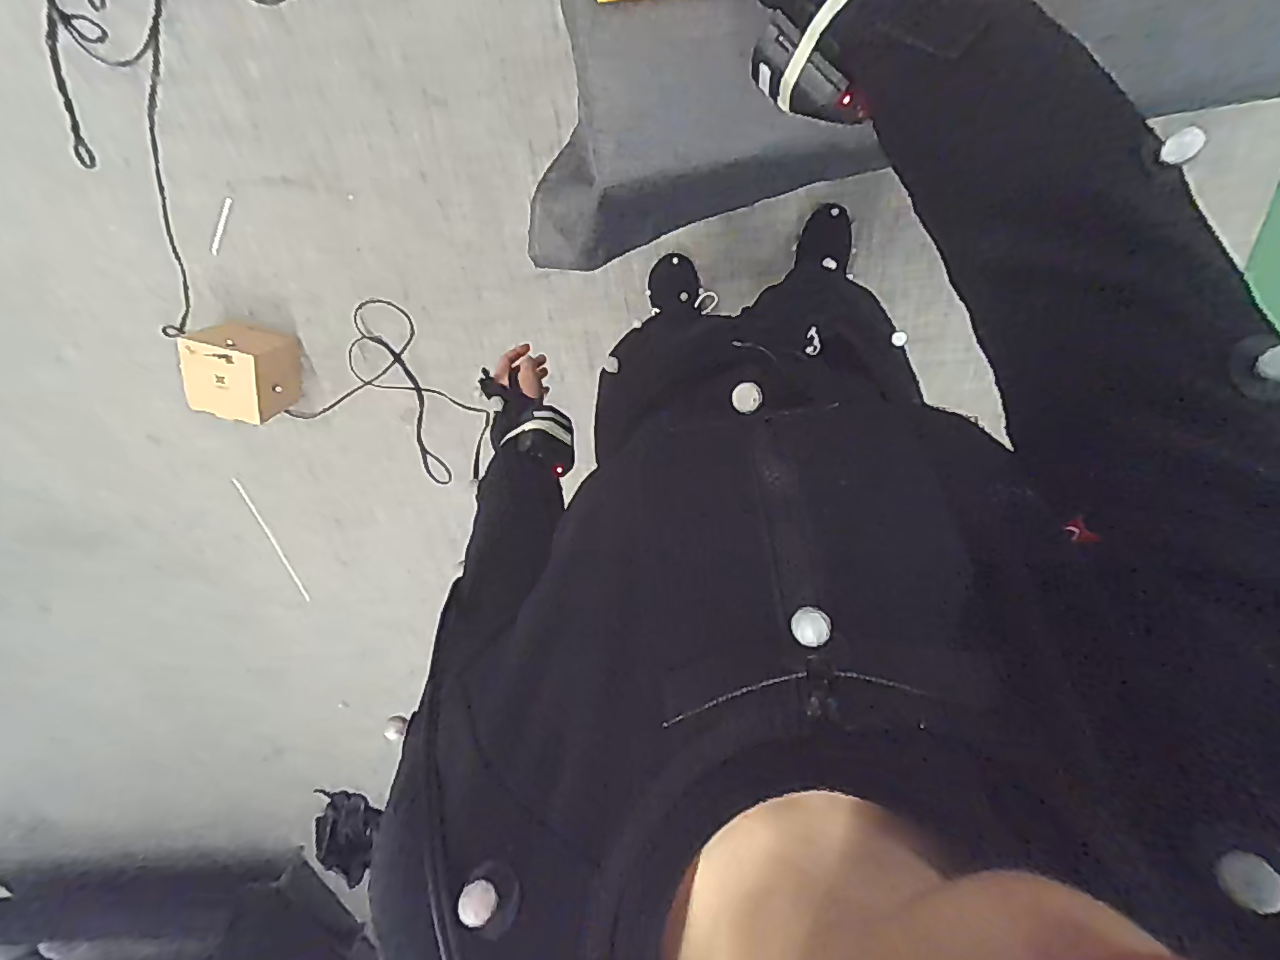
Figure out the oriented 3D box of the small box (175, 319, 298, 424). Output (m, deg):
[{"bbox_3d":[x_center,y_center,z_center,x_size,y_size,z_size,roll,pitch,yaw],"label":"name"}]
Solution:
[{"bbox_3d":[-0.941,-0.260,1.282,0.168,0.176,0.179,14,119,-5],"label":"small box"}]
